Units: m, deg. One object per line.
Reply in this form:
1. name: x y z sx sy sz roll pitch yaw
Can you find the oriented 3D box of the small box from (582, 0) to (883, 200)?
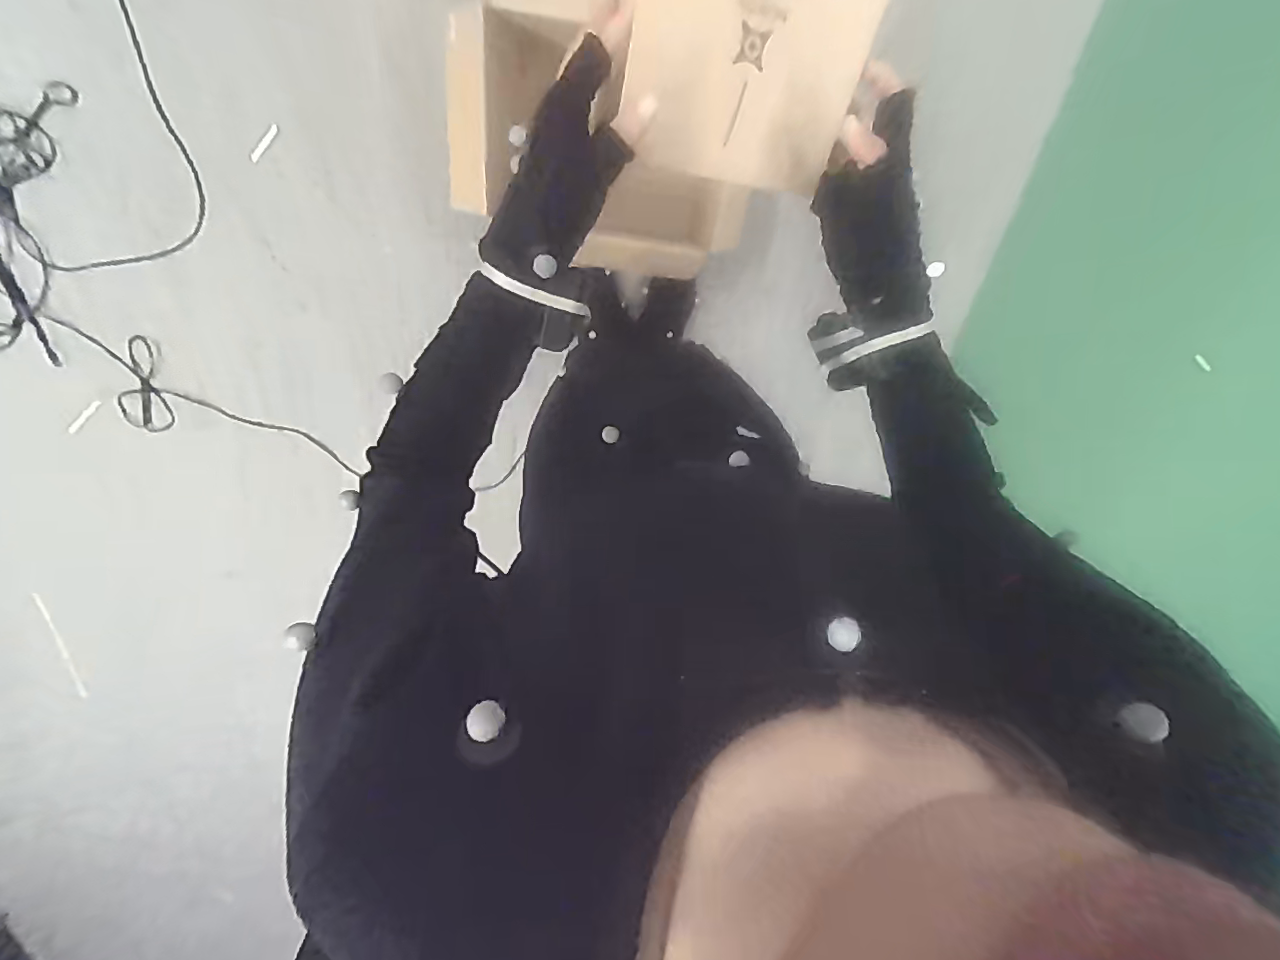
1. small box: 0.056 -0.341 0.412 0.168 0.176 0.179 1 130 -18
